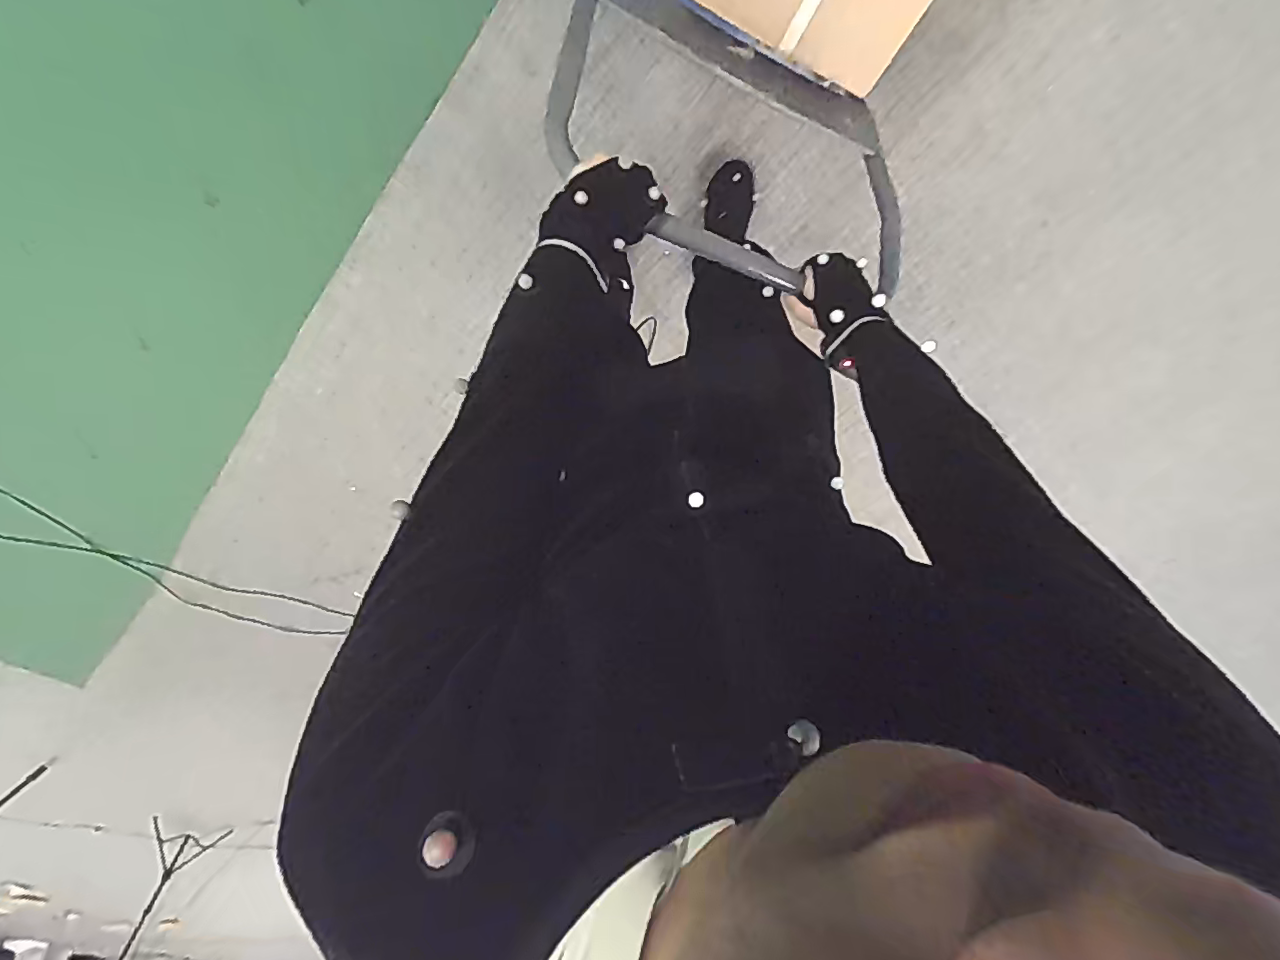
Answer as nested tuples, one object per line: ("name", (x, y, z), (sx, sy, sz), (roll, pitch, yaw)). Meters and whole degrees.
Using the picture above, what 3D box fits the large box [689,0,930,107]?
("large box", (0.288, -0.852, 0.750), (0.320, 0.320, 0.408), (15, 144, -19))
